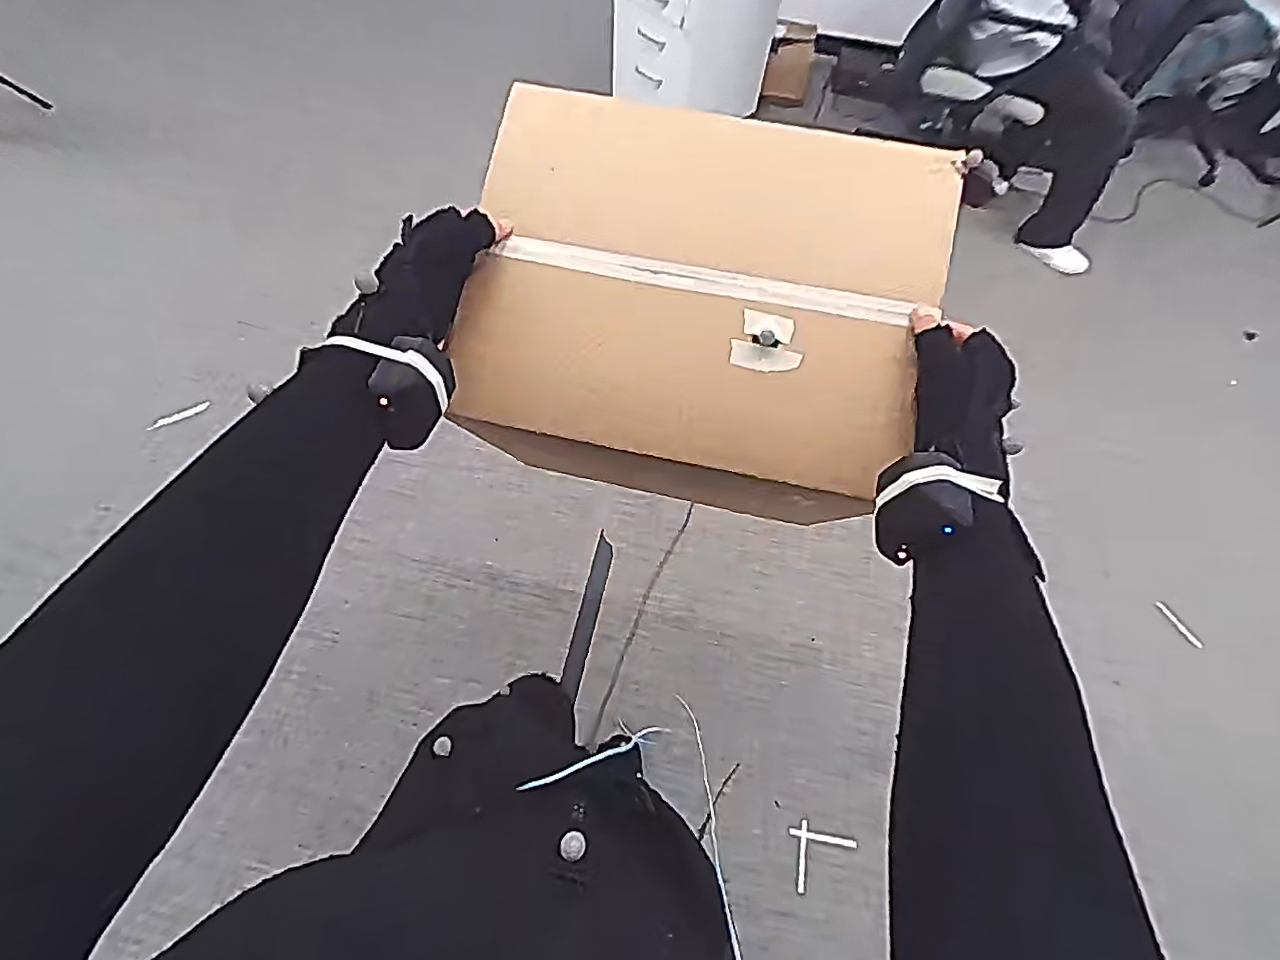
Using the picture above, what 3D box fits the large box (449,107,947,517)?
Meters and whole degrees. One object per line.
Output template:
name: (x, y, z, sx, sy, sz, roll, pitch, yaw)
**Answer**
large box: (0.058, -0.151, 0.627, 0.408, 0.320, 0.320, 12, 85, 4)
